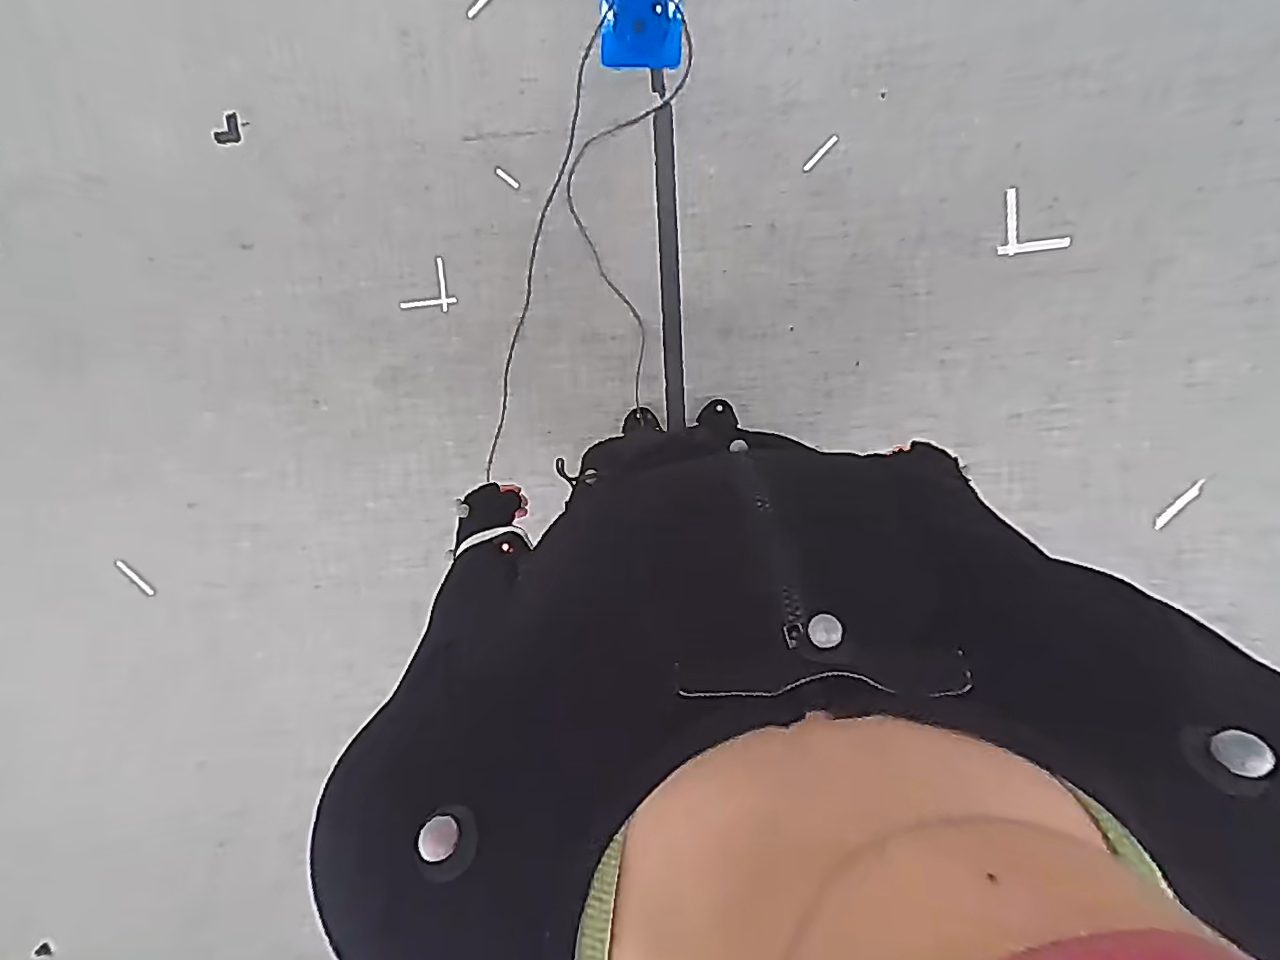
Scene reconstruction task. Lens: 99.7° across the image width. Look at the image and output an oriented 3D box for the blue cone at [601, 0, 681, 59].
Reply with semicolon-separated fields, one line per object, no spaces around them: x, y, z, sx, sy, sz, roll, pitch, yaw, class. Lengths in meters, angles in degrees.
-0.007;-1.088;1.131;0.193;0.380;0.192;0;99;3;blue cone
